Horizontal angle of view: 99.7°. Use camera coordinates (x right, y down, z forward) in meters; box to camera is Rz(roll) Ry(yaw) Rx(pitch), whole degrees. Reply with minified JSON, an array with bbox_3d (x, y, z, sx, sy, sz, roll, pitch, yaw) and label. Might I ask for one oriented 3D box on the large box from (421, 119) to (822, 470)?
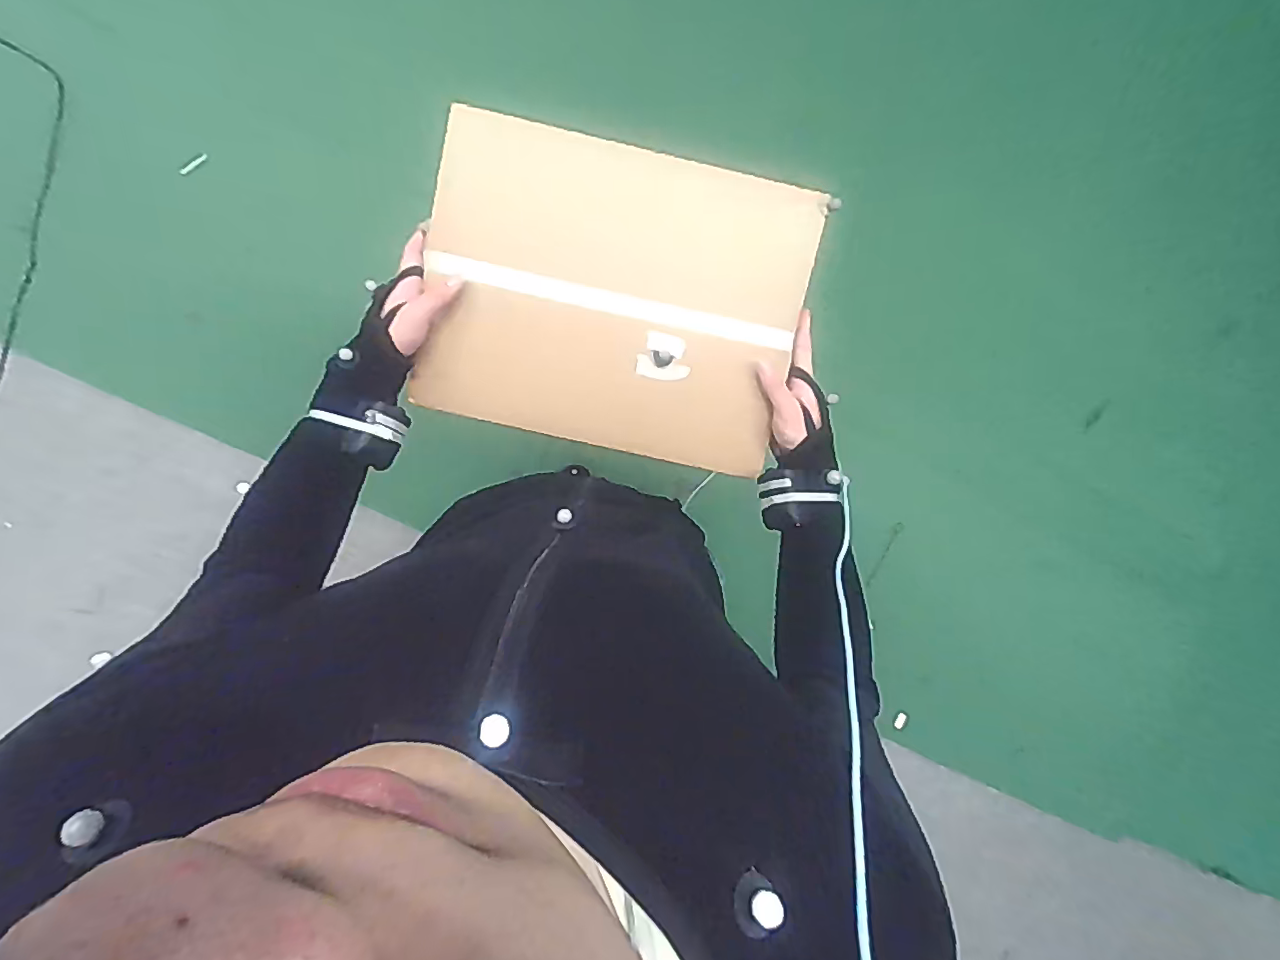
[{"bbox_3d":[-0.030,-0.218,0.746,0.408,0.320,0.320,12,99,-3],"label":"large box"}]
